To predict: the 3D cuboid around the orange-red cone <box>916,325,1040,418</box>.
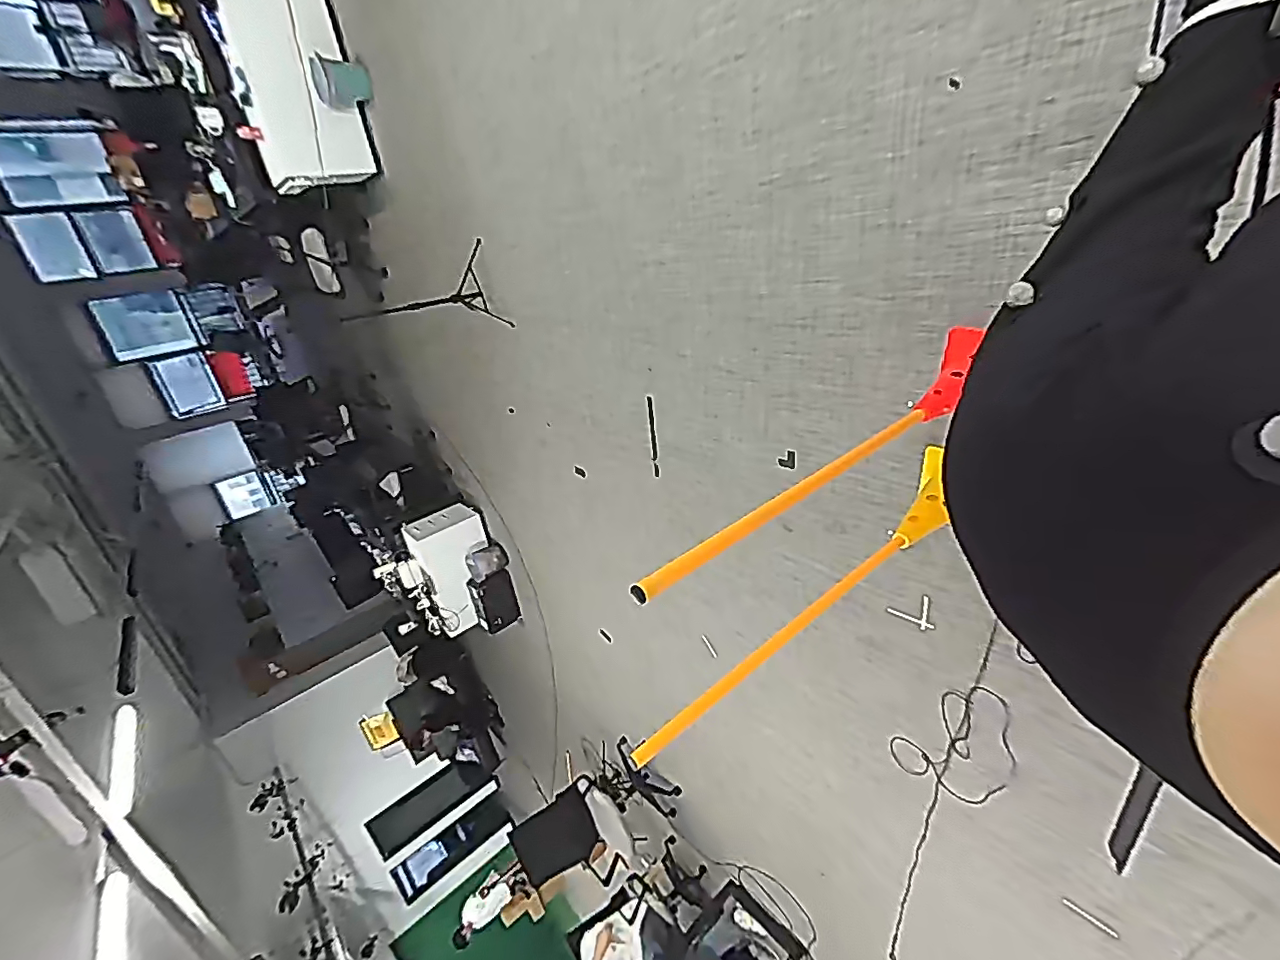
[{"bbox_3d":[0.734,-0.215,1.249,0.198,0.360,0.199,28,131,40],"label":"orange-red cone"}]
